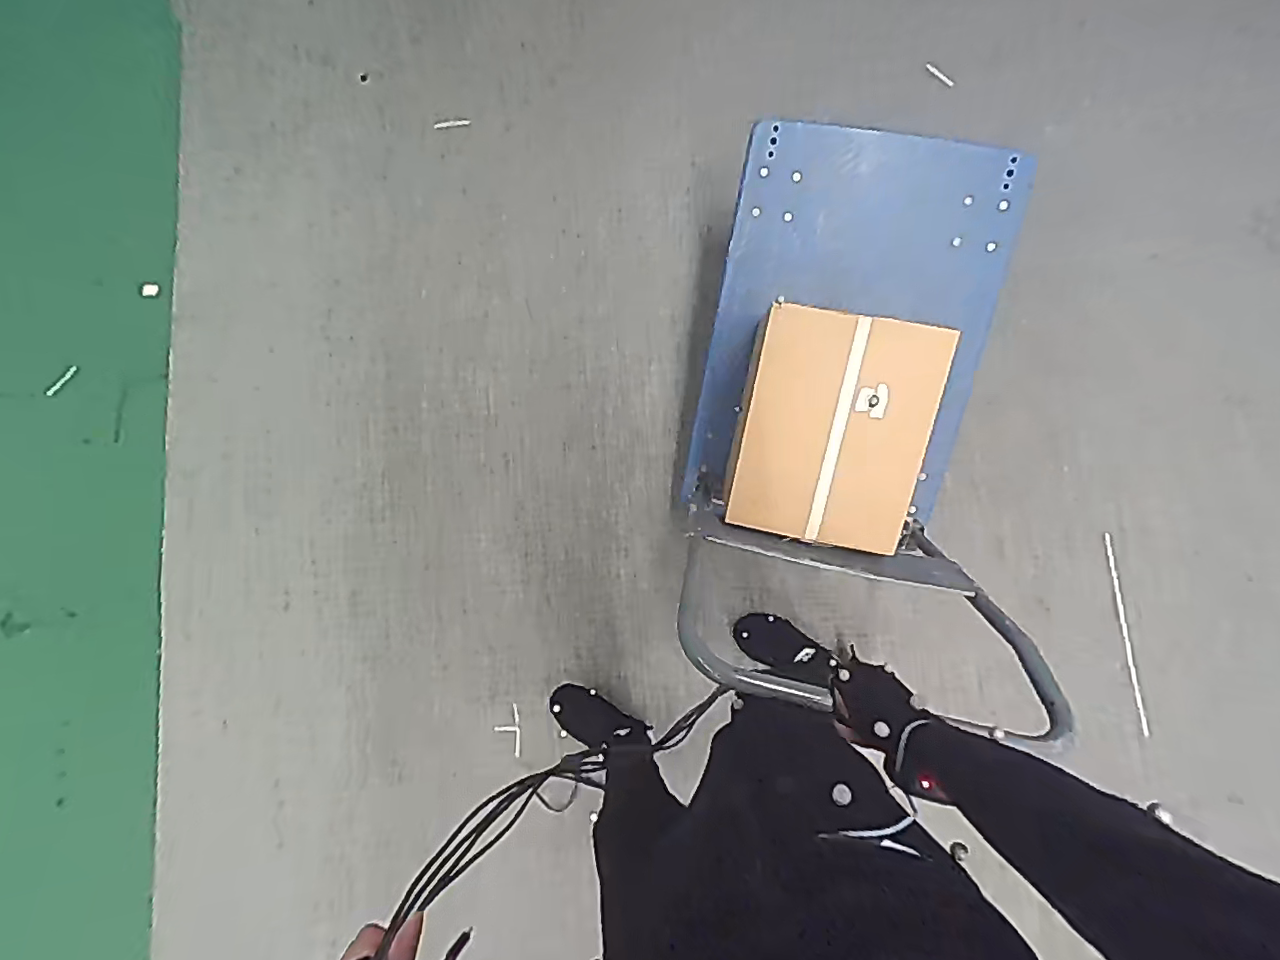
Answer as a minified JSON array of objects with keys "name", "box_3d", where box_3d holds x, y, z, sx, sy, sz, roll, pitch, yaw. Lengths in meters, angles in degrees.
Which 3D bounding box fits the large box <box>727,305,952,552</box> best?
[{"name":"large box","box_3d":[0.366,-0.111,1.104,0.320,0.320,0.408,12,102,6]}]
